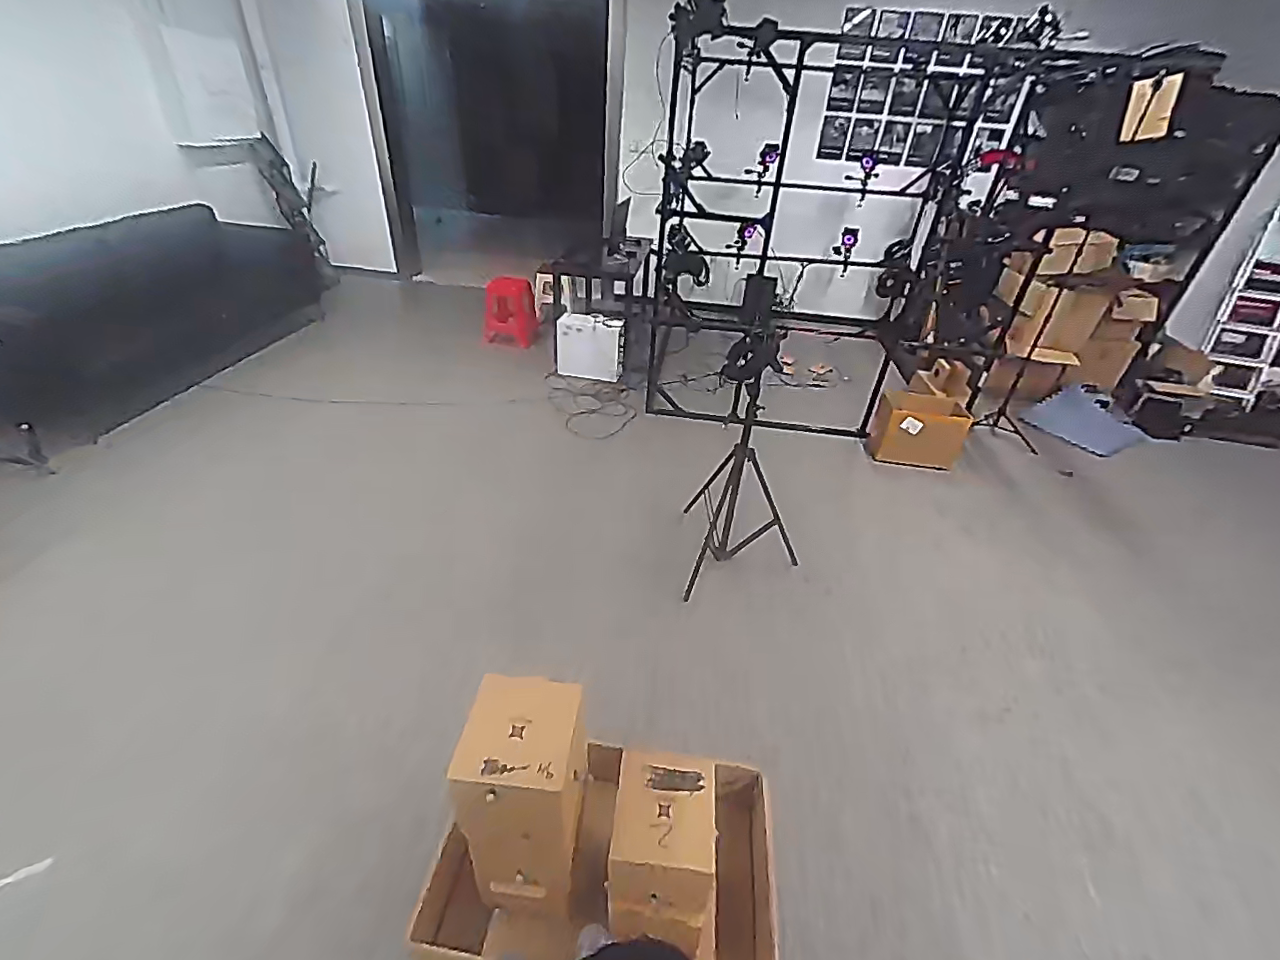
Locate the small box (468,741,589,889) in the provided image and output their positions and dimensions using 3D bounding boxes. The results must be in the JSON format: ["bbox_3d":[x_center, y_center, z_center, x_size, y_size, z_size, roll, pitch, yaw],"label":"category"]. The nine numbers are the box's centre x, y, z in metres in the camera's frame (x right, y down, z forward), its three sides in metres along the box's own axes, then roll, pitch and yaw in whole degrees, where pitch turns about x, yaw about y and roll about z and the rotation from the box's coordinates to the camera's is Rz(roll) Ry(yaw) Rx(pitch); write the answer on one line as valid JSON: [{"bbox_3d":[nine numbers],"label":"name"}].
[{"bbox_3d":[-0.186,0.576,0.951,0.168,0.176,0.179,5,35,3],"label":"small box"}]

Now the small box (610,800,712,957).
[{"bbox_3d":[0.039,0.746,1.017,0.168,0.176,0.179,7,35,7],"label":"small box"}]

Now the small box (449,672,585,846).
[{"bbox_3d":[-0.184,0.439,0.860,0.168,0.176,0.179,5,33,3],"label":"small box"}]
